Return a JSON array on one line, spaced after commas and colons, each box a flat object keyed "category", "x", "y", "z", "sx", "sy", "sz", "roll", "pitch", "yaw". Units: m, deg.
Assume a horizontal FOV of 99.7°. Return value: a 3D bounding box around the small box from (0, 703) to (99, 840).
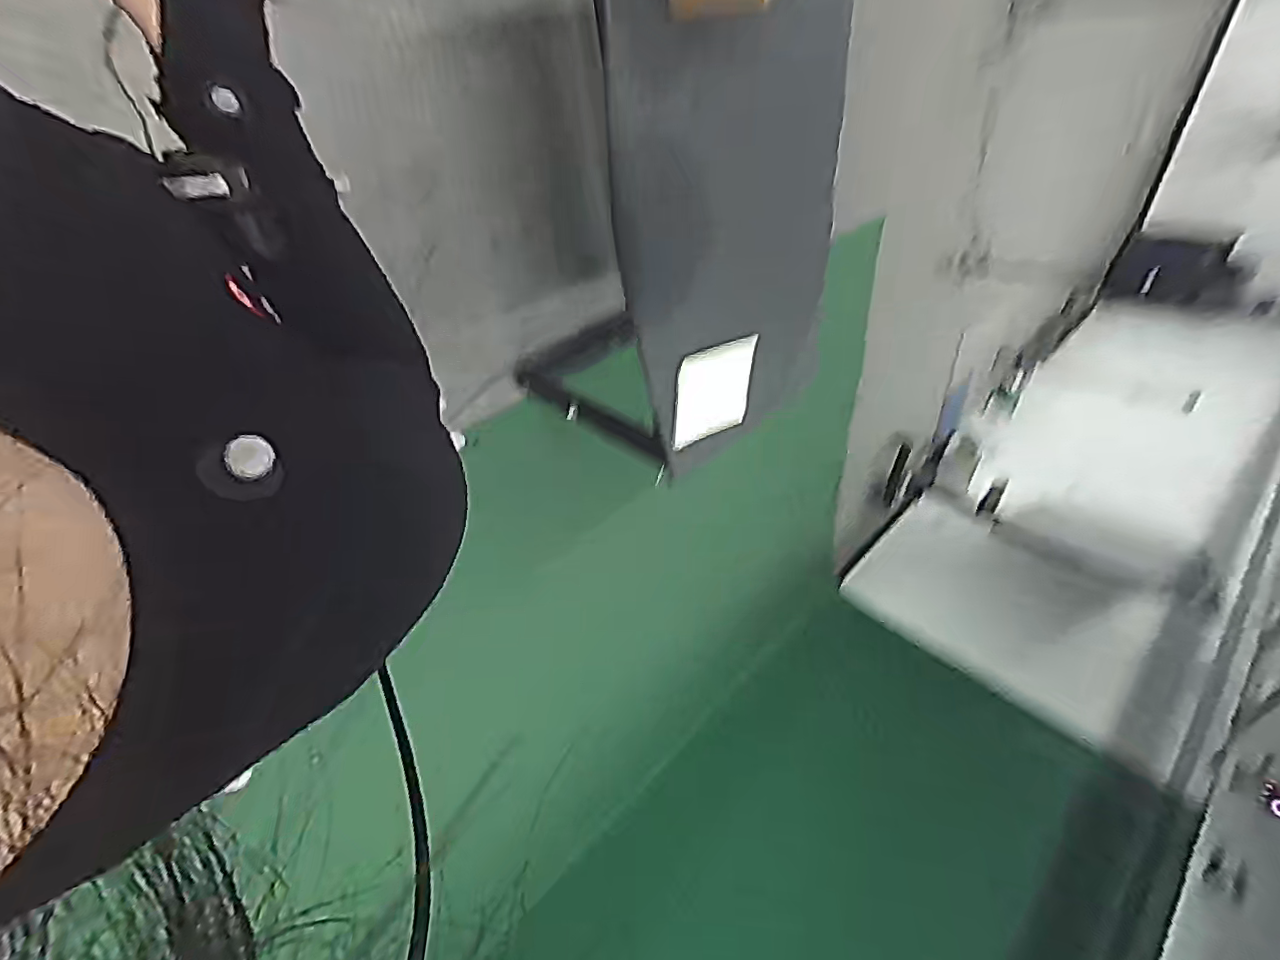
[{"category": "small box", "x": -1.324, "y": 0.620, "z": 1.165, "sx": 0.168, "sy": 0.176, "sz": 0.179, "roll": -35, "pitch": 135, "yaw": -24}]
